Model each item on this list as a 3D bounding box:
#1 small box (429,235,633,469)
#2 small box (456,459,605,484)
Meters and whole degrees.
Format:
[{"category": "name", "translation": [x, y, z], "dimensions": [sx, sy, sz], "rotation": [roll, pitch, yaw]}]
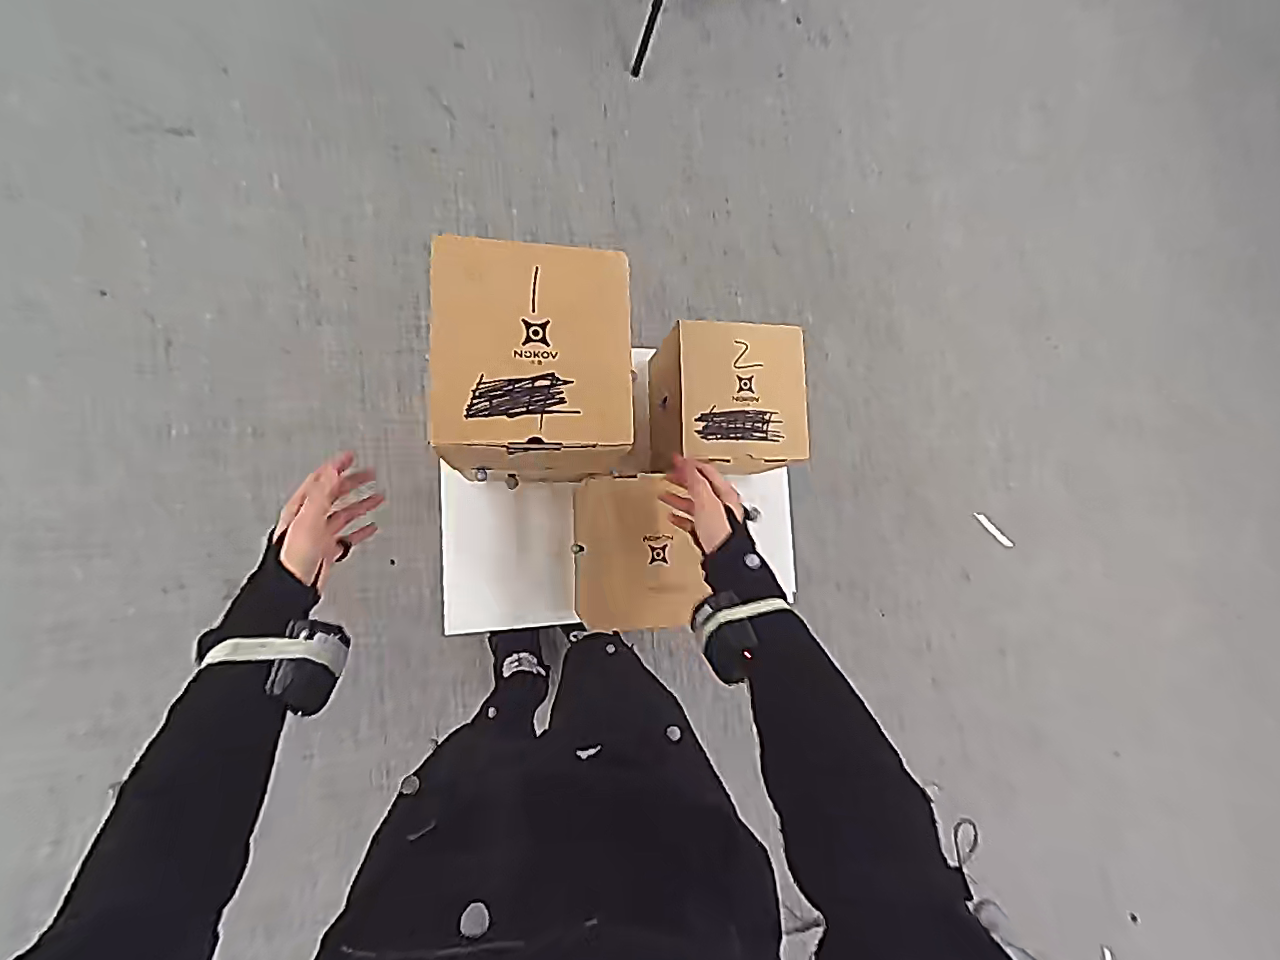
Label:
[{"category": "small box", "translation": [-0.103, -0.105, 0.524], "dimensions": [0.168, 0.176, 0.179], "rotation": [0, 83, -13]}, {"category": "small box", "translation": [-0.135, -0.087, 0.684], "dimensions": [0.168, 0.176, 0.179], "rotation": [1, 84, -13]}]
